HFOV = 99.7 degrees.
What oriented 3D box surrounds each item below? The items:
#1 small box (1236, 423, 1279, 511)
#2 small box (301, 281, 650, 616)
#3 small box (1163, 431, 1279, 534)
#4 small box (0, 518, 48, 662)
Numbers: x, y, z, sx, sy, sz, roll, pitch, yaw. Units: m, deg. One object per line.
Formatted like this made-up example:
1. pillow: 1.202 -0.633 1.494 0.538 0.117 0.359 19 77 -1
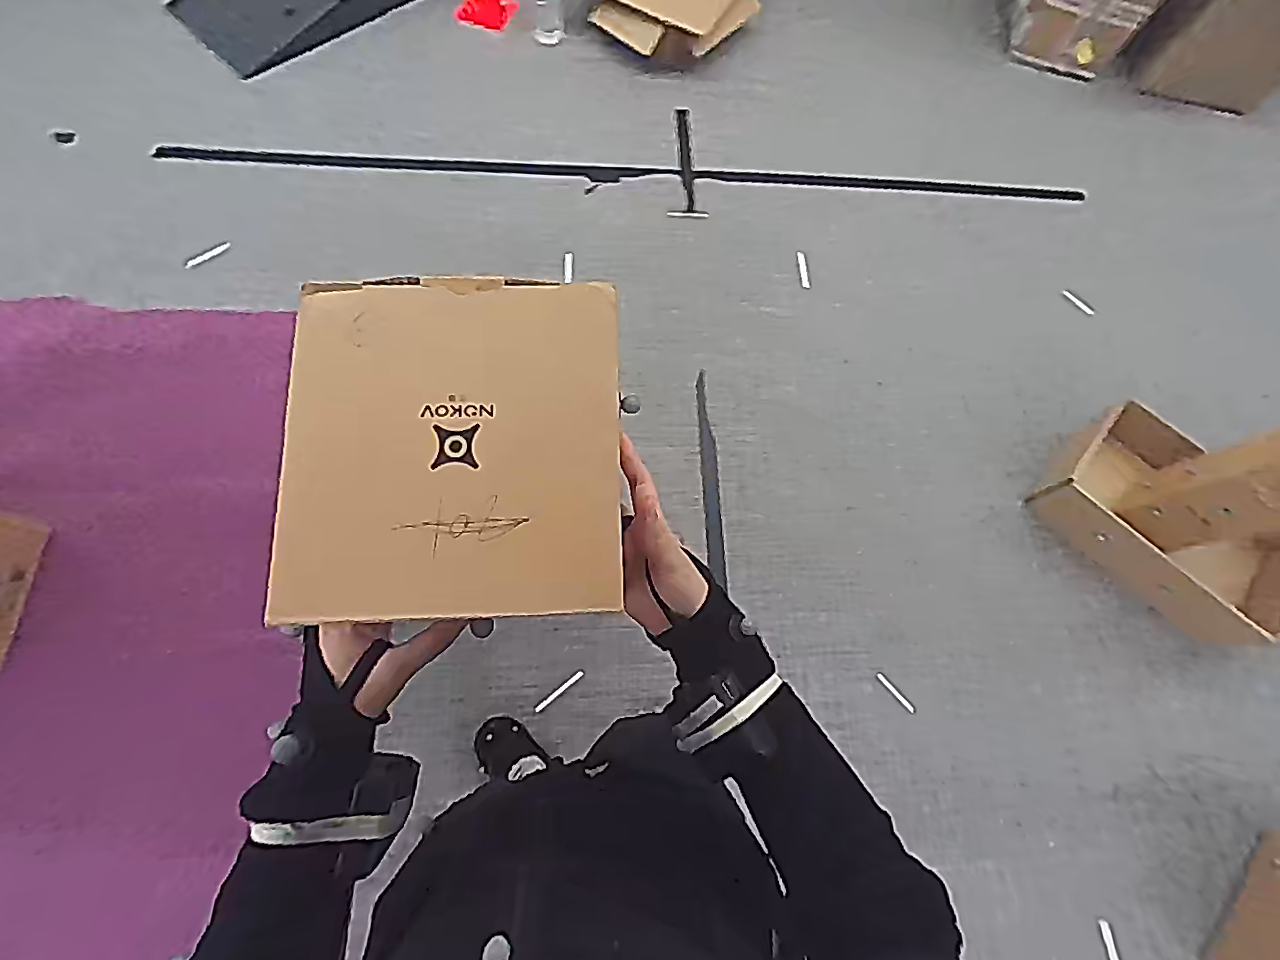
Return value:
1. small box: 1.541 -0.045 1.232 0.179 0.176 0.168 -40 79 -19
2. small box: -0.083 -0.005 0.351 0.168 0.176 0.179 -1 79 -3
3. small box: 1.512 0.013 1.382 0.179 0.176 0.168 -39 79 -18
4. small box: -0.777 0.109 0.534 0.179 0.176 0.168 0 70 -7
